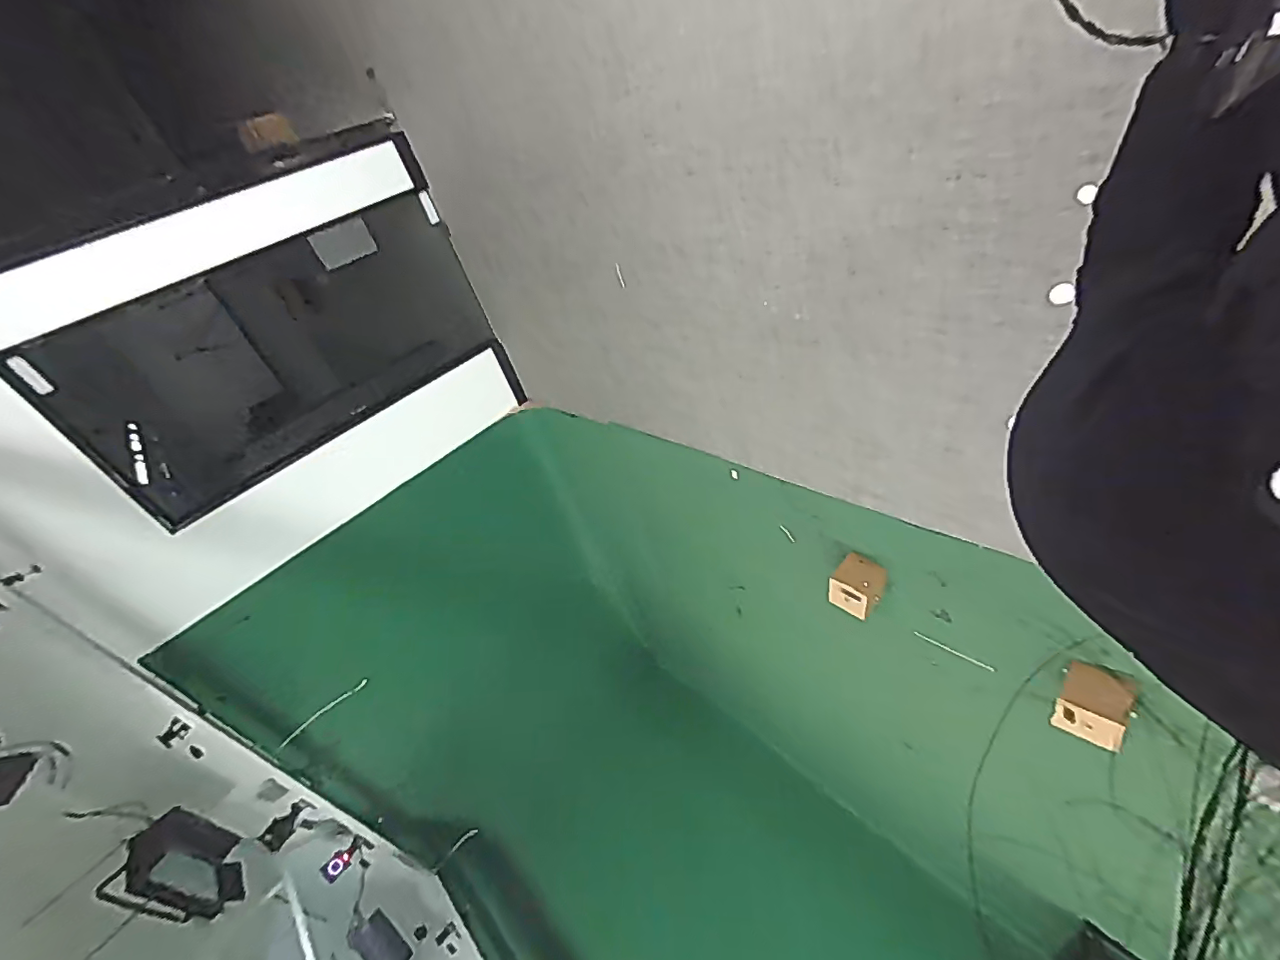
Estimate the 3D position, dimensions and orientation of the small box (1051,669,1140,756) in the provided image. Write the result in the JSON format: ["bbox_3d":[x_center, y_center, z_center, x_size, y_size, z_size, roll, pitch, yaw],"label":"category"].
[{"bbox_3d":[1.497,0.755,1.780,0.179,0.176,0.168,19,141,44],"label":"small box"}]
